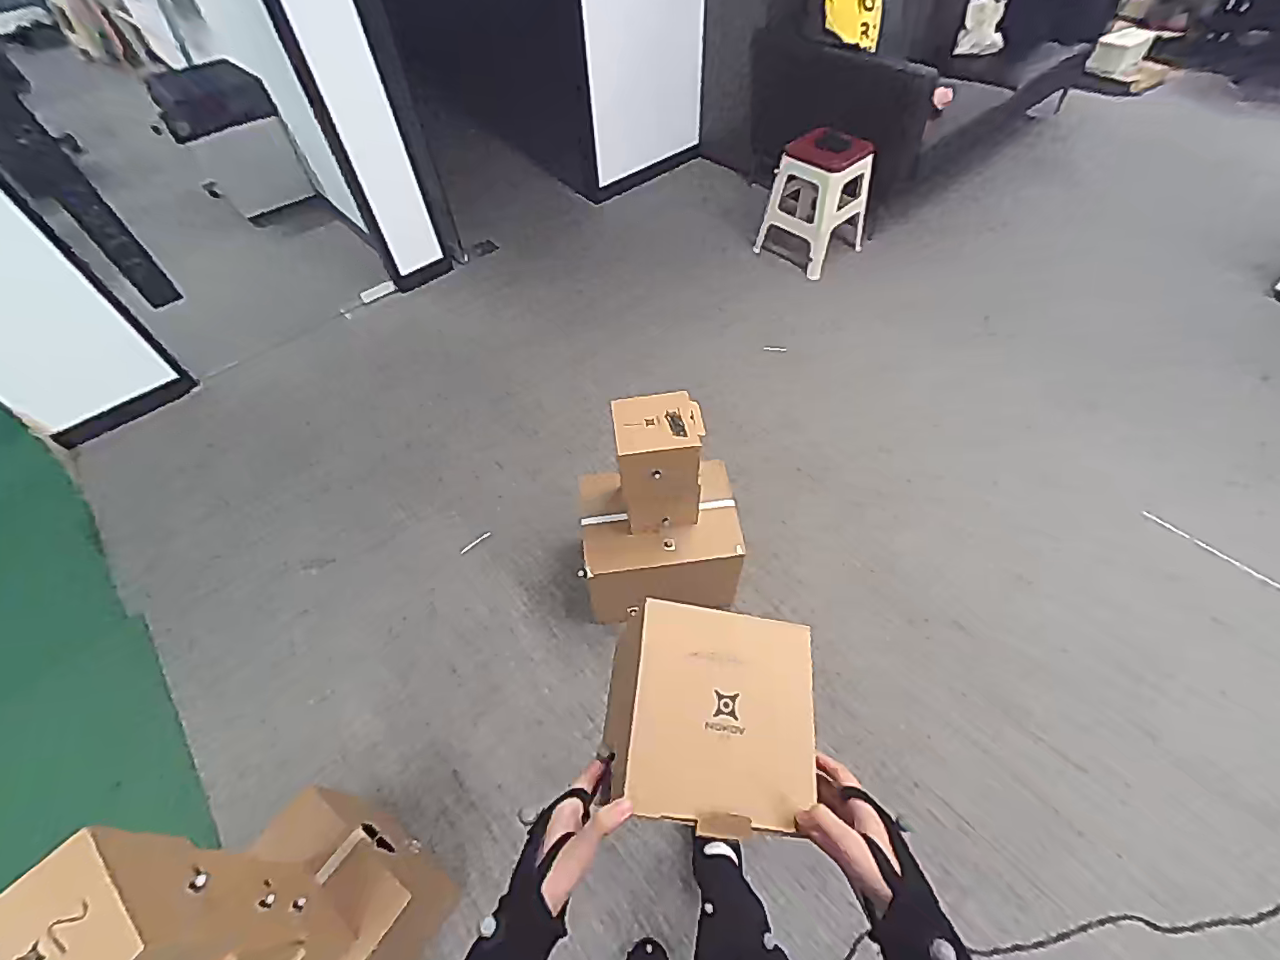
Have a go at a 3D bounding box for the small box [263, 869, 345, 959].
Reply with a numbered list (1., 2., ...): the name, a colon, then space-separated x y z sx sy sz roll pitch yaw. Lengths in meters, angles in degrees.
1. small box: -0.599 0.735 0.833 0.179 0.176 0.168 34 60 24

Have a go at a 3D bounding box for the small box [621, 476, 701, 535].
1. small box: 0.043 0.019 1.356 0.179 0.176 0.168 -9 52 -6

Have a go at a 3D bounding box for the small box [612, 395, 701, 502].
1. small box: 0.033 -0.068 1.215 0.179 0.176 0.168 -7 52 -2

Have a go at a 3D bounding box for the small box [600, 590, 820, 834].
1. small box: 0.061 0.231 0.536 0.168 0.176 0.179 13 59 -8

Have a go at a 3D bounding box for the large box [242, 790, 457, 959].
1. large box: -0.633 0.887 1.027 0.320 0.320 0.408 28 60 22

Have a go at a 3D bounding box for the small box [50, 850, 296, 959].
1. small box: -0.606 0.632 0.708 0.168 0.176 0.179 35 60 24
